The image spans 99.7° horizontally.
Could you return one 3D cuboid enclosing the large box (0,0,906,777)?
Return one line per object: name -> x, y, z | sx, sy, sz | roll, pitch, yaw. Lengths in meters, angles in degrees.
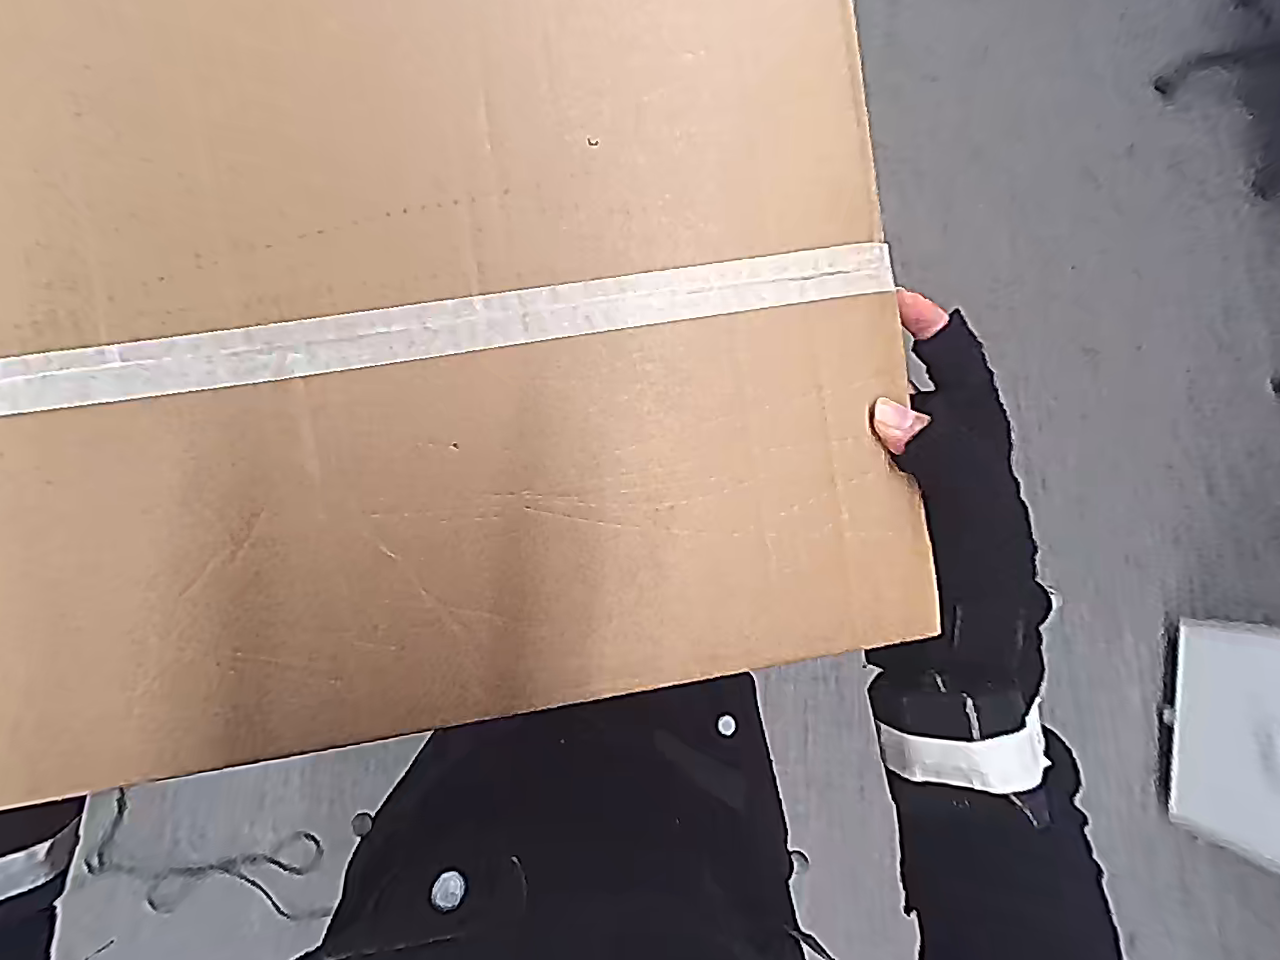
large box -> -0.102, -0.061, 0.374 | 0.408, 0.320, 0.320 | -7, 91, -4
